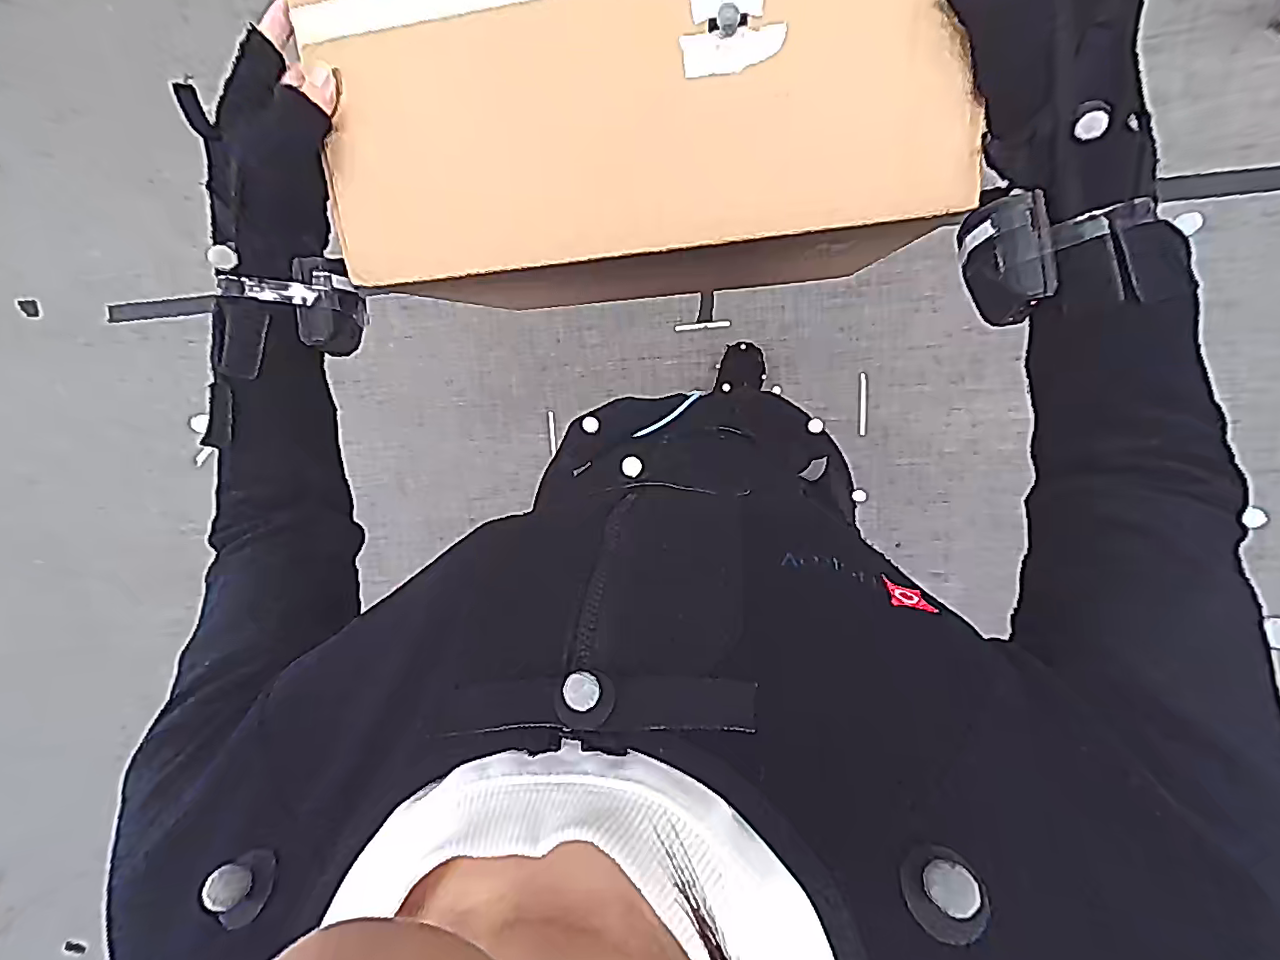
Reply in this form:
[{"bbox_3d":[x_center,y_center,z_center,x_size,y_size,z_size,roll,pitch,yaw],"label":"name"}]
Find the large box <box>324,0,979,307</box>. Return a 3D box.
[{"bbox_3d":[0.009,-0.342,0.466,0.408,0.320,0.320,-4,104,9],"label":"large box"}]
